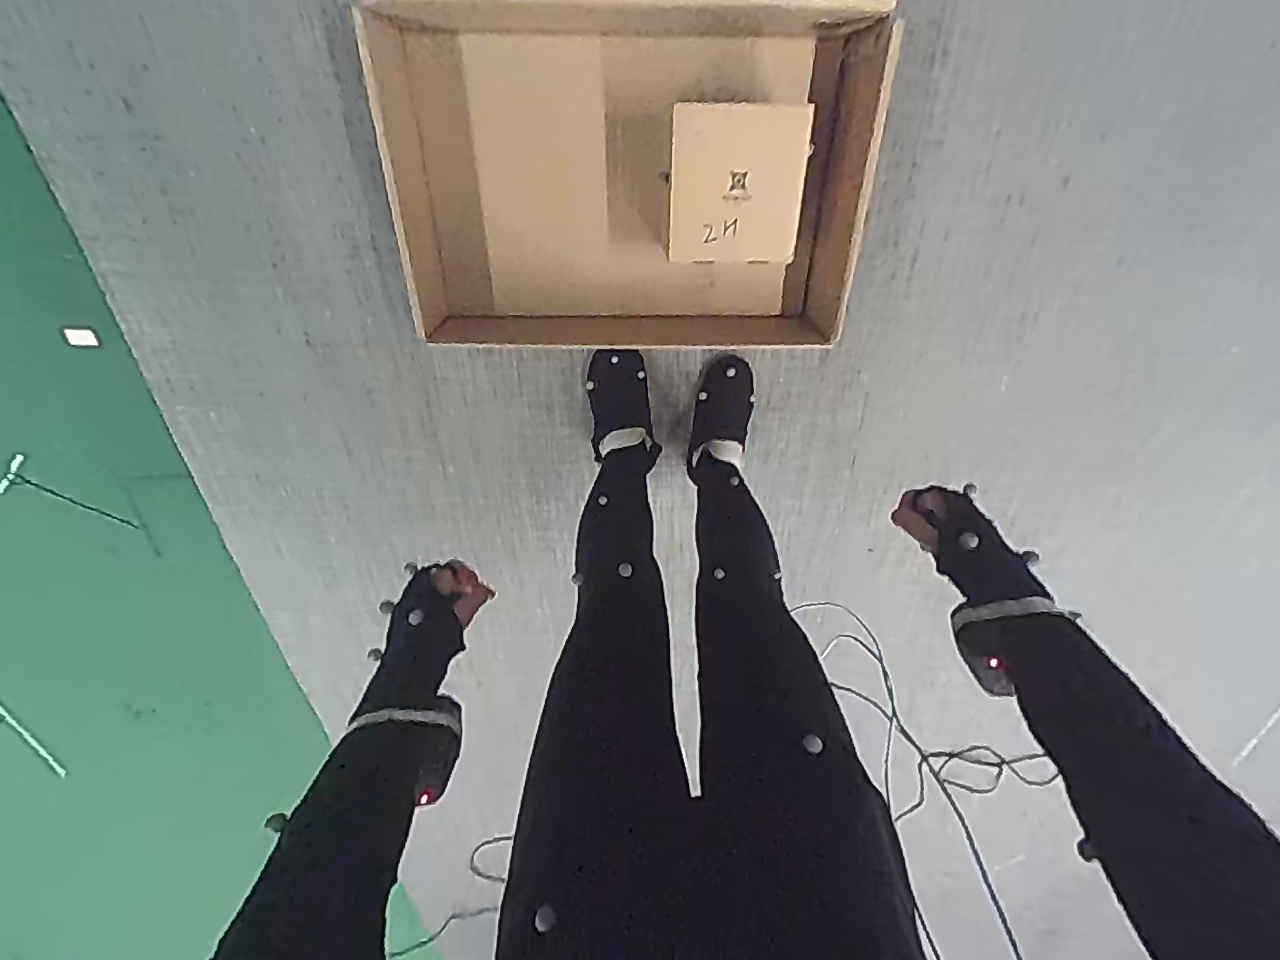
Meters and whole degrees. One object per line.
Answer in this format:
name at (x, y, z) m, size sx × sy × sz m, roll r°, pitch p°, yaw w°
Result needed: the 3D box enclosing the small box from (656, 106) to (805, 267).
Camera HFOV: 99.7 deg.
small box at (0.110, -0.399, 0.743) m, size 0.168 × 0.176 × 0.179 m, roll 0°, pitch 121°, yaw -1°
